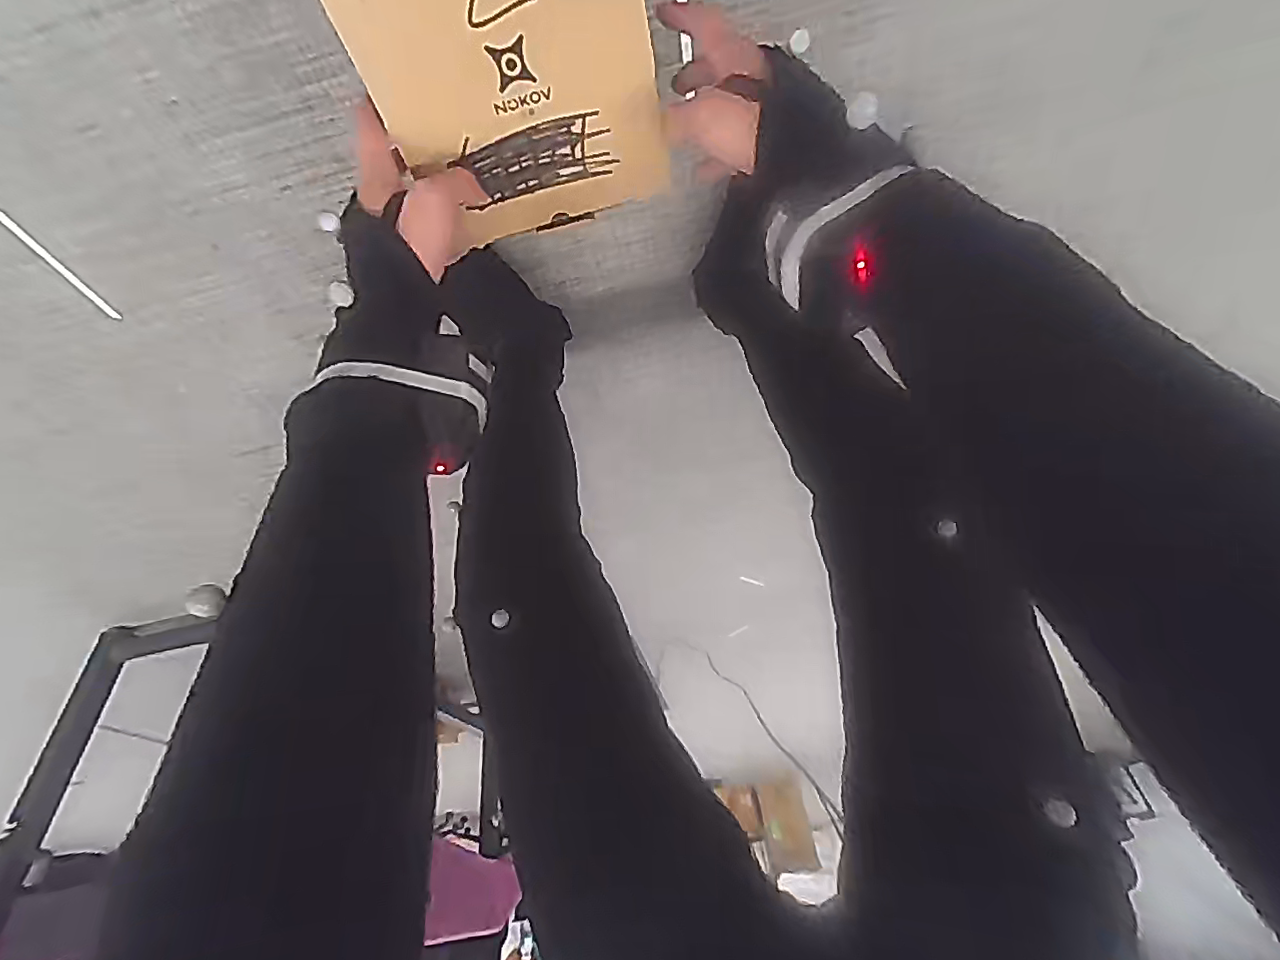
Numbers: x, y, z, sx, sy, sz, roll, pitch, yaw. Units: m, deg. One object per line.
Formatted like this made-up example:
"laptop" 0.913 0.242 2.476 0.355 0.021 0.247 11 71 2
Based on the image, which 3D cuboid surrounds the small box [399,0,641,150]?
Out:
"small box" -0.108 -0.427 0.456 0.168 0.176 0.179 -14 145 6
